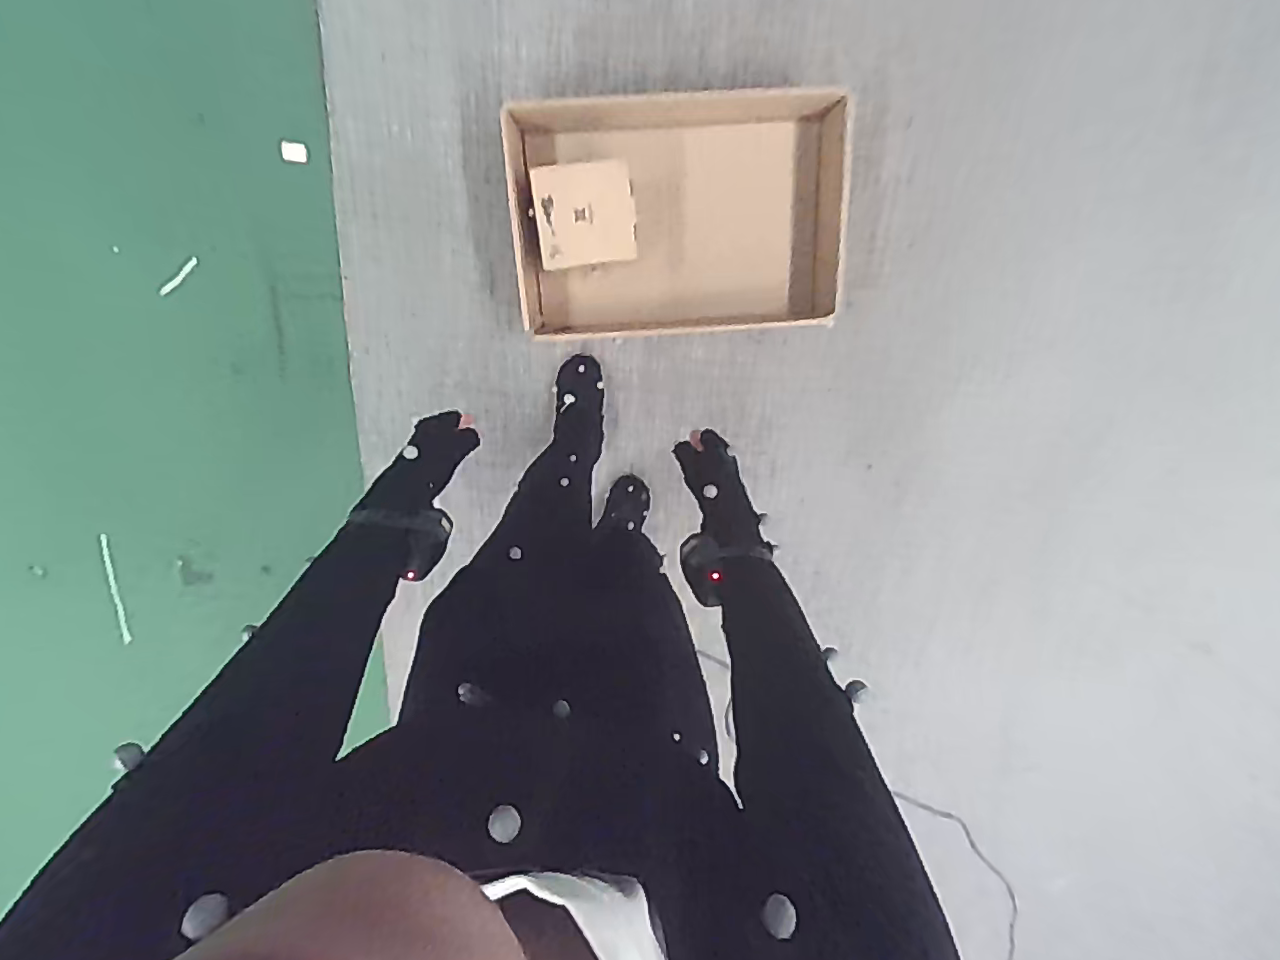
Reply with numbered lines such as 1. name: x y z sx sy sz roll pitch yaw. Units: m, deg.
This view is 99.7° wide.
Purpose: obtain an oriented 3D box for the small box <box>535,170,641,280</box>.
1. small box: -0.098 -0.485 1.047 0.179 0.176 0.168 -6 108 -1
